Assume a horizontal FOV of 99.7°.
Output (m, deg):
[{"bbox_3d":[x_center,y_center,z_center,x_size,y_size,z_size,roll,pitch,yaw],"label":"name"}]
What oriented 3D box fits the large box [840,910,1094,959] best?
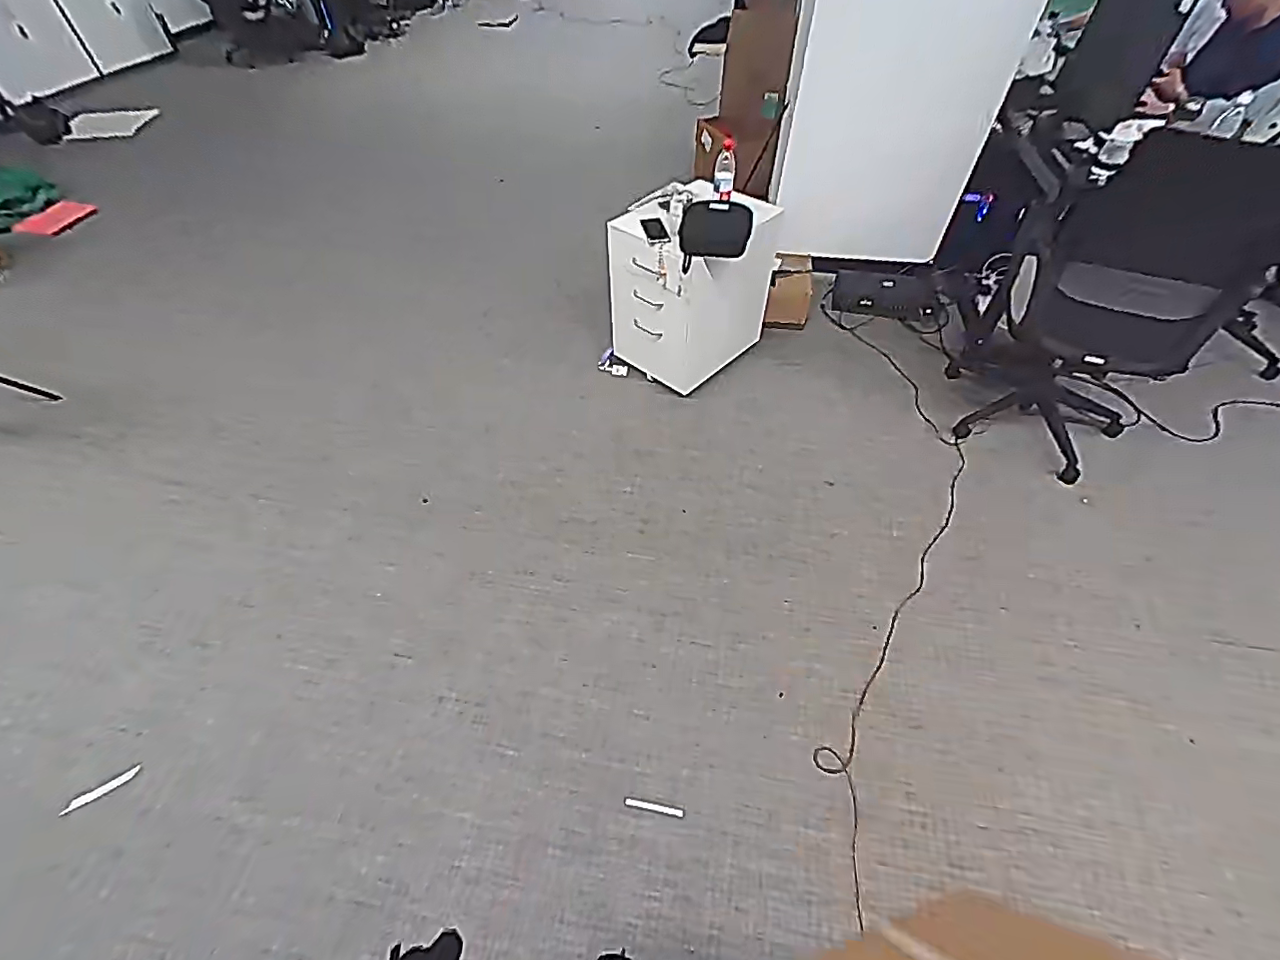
[{"bbox_3d":[0.429,0.760,0.603,0.320,0.408,0.320,-15,63,-10],"label":"large box"}]
